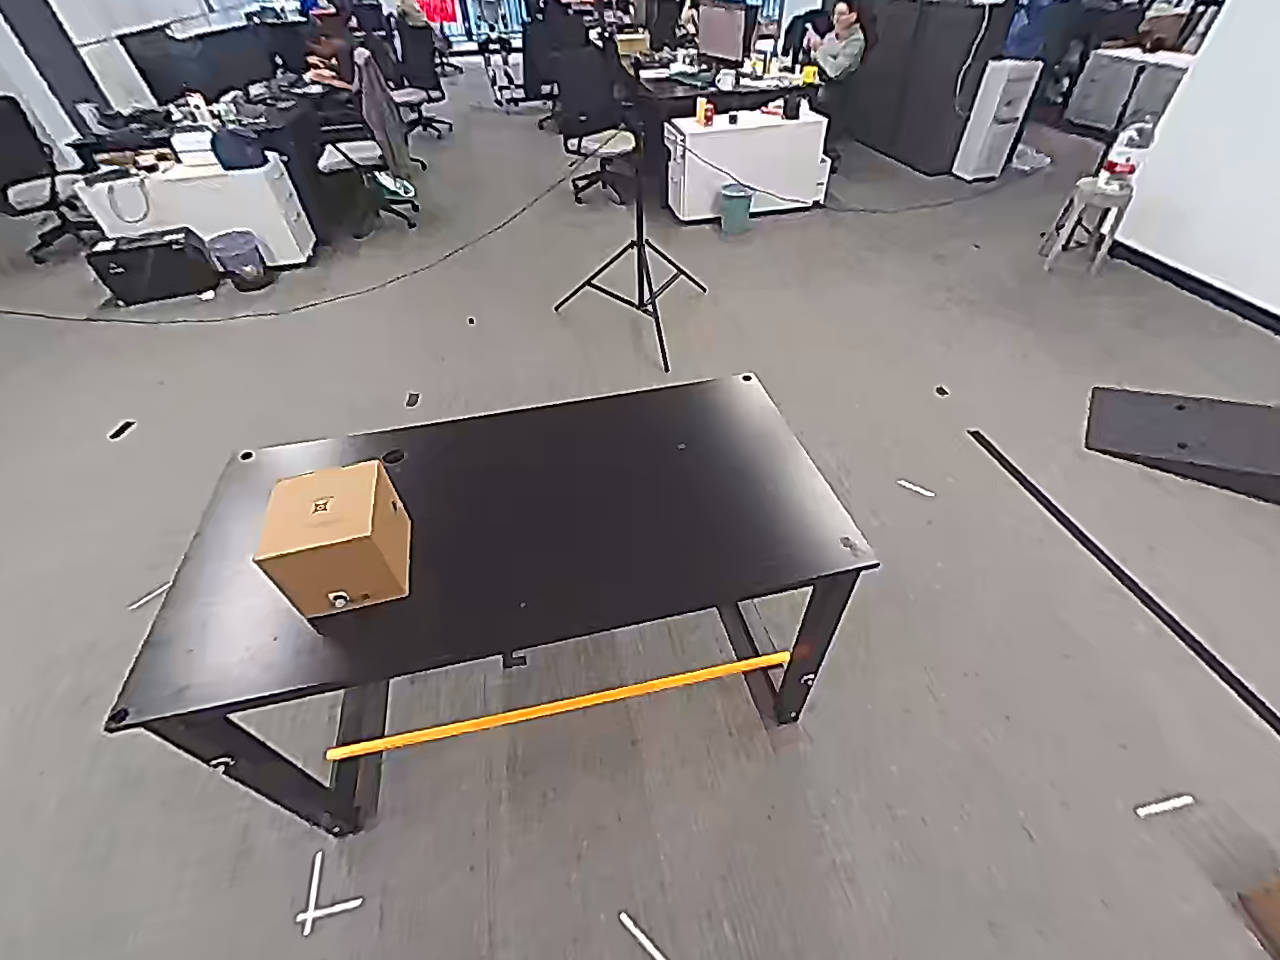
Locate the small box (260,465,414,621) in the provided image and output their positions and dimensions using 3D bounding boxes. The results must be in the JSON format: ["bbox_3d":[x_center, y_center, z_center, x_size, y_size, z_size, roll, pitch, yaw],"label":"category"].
[{"bbox_3d":[-0.492,0.105,0.910,0.168,0.176,0.179,-13,46,-10],"label":"small box"}]

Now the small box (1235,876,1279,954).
[{"bbox_3d":[1.380,0.887,1.070,0.168,0.176,0.179,-9,45,-6],"label":"small box"}]
